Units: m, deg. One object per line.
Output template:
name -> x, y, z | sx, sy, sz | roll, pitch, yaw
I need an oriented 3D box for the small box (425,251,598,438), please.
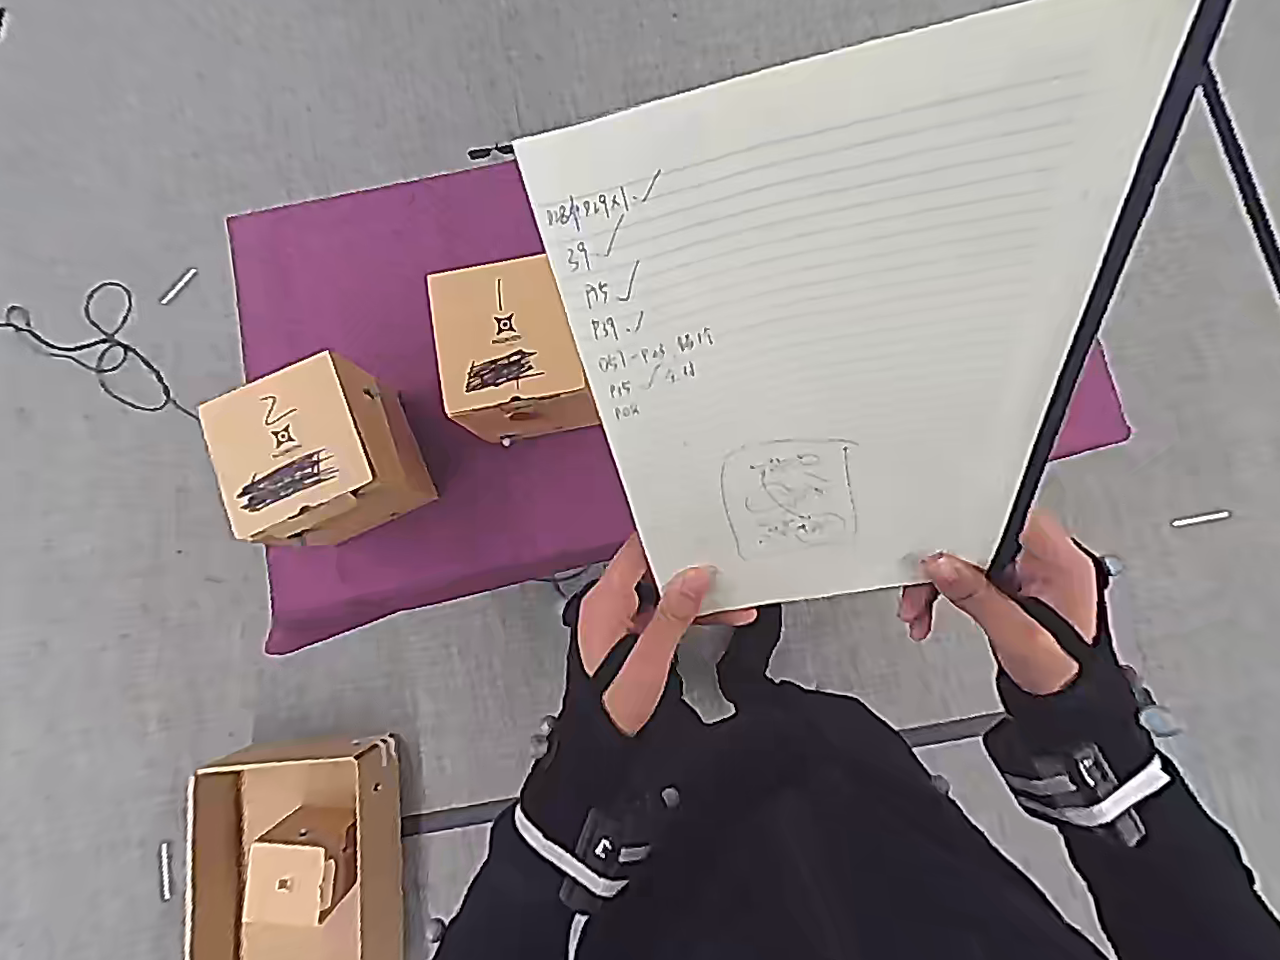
small box -> -0.154, -0.159, 0.698 | 0.168, 0.176, 0.179 | -10, 82, 0

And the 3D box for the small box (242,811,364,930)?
small box -> -0.776, 0.903, 1.264 | 0.179, 0.176, 0.168 | 3, 83, 2
